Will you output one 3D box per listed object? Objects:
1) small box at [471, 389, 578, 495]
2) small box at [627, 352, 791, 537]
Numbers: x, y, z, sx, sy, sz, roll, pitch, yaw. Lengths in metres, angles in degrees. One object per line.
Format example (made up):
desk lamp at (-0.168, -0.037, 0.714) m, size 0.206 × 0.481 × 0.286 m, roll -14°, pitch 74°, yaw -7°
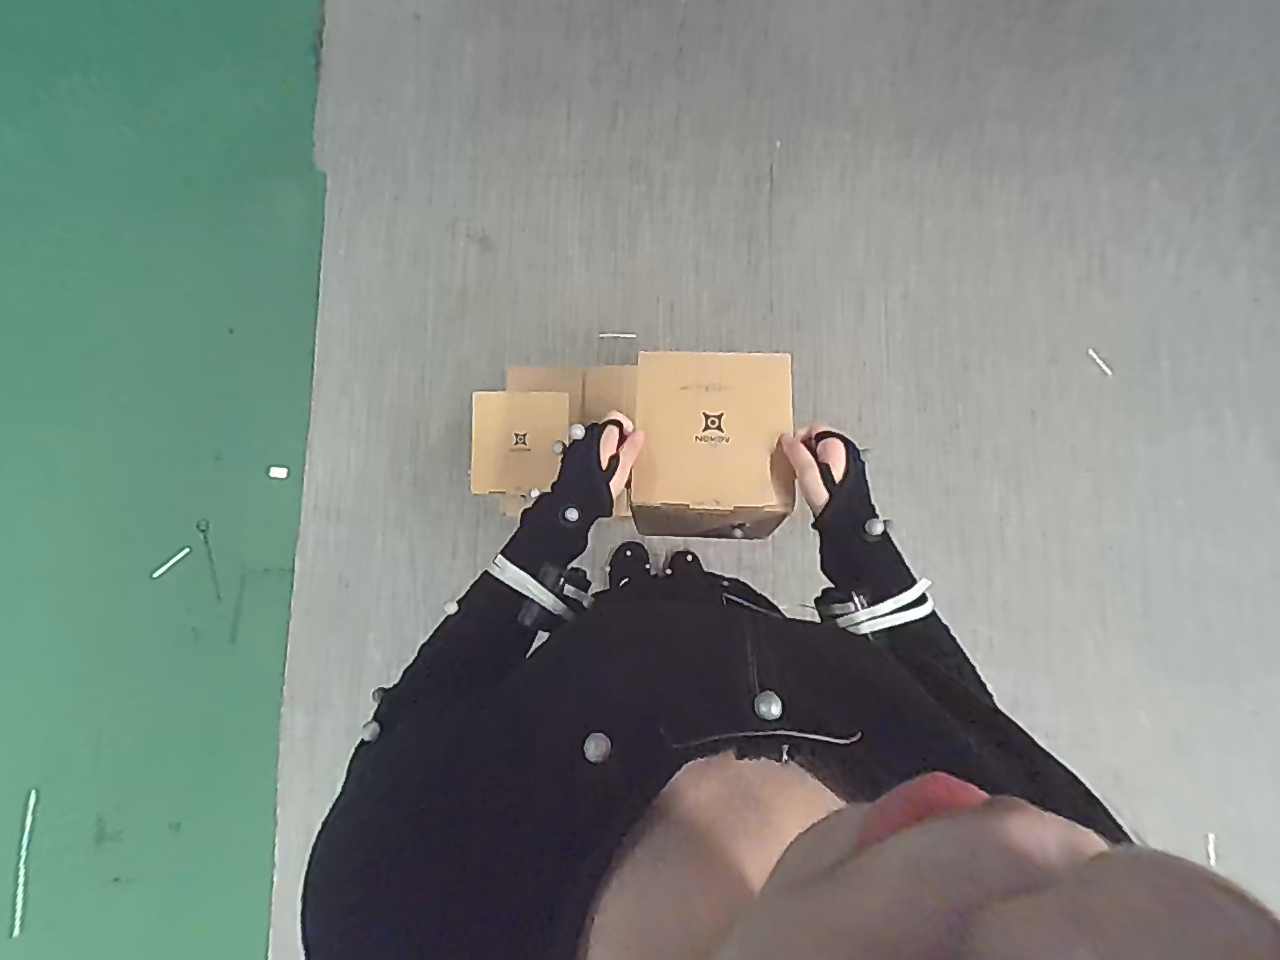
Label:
small box at (-0.204, -0.062, 0.993) m, size 0.168 × 0.176 × 0.179 m, roll 0°, pitch 87°, yaw -1°
small box at (0.078, -0.032, 0.634) m, size 0.168 × 0.176 × 0.179 m, roll 2°, pitch 74°, yaw 4°
